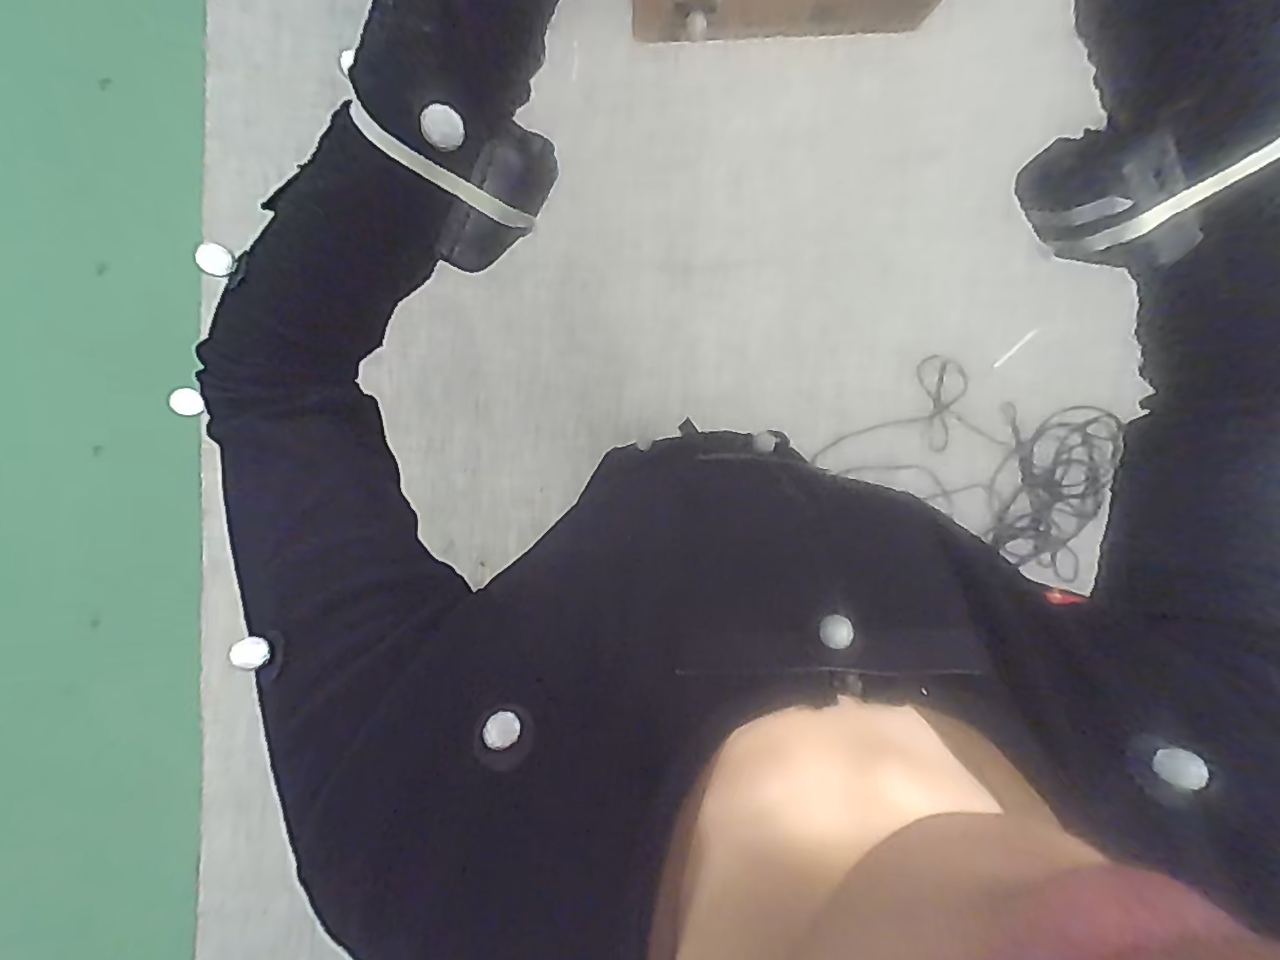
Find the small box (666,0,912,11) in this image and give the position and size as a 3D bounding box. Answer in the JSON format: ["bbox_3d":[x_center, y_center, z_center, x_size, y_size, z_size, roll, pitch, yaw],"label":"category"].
[{"bbox_3d":[0.075,-0.330,0.213,0.168,0.176,0.179,-3,99,0],"label":"small box"}]
